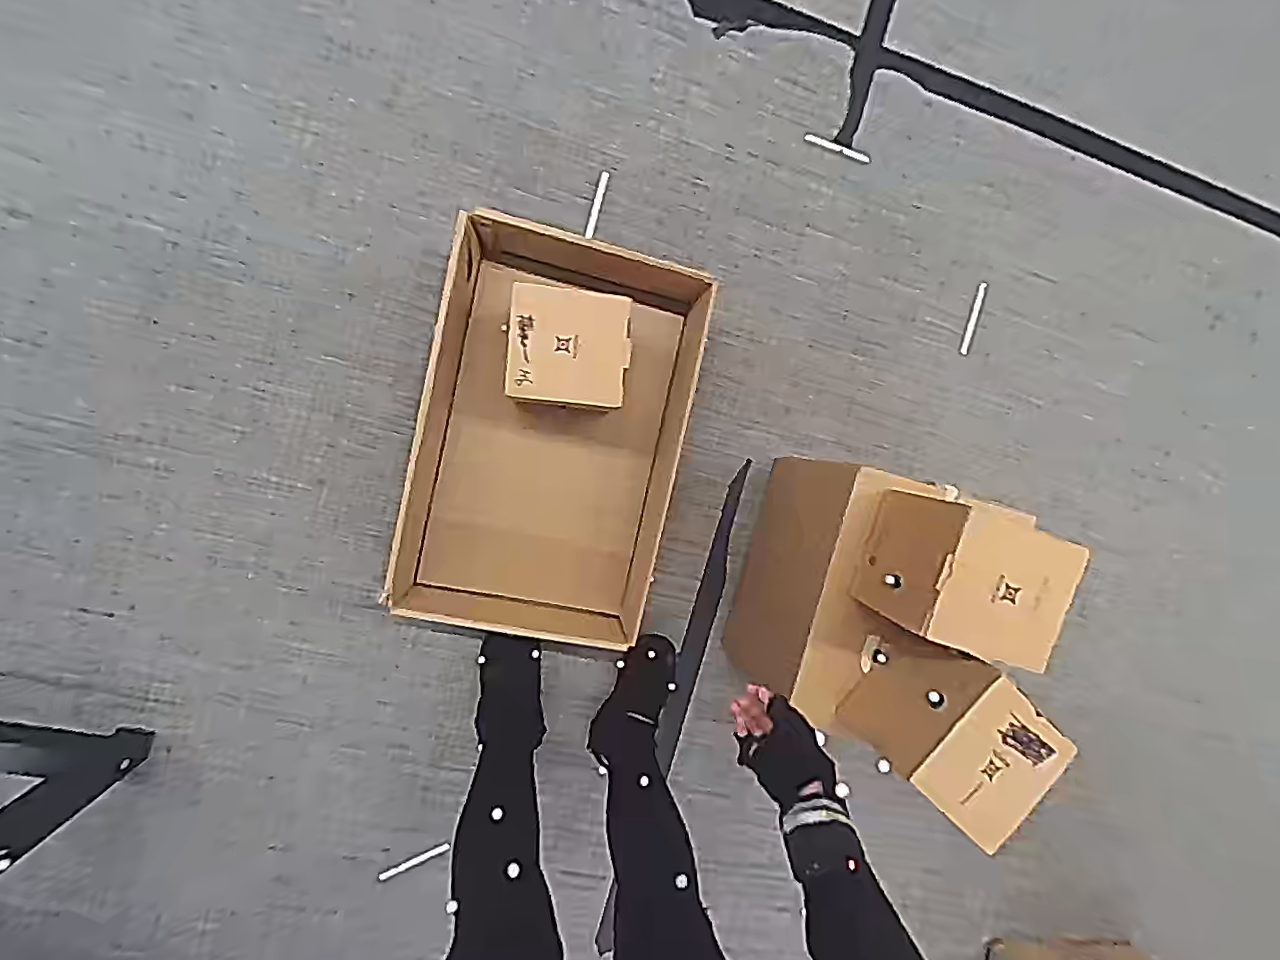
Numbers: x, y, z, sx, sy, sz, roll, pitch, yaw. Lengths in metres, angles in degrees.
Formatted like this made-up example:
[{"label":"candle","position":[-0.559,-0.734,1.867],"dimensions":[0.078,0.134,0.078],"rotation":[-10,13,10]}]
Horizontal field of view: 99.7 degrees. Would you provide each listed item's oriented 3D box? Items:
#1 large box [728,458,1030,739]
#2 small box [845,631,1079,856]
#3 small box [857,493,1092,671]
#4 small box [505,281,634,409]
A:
[{"label":"large box","position":[0.388,0.193,0.963],"dimensions":[0.320,0.320,0.408],"rotation":[15,93,-8]},{"label":"small box","position":[0.418,0.337,0.730],"dimensions":[0.168,0.176,0.179],"rotation":[44,88,-9]},{"label":"small box","position":[0.423,0.122,0.715],"dimensions":[0.179,0.176,0.168],"rotation":[18,94,-10]},{"label":"small box","position":[-0.115,-0.205,0.870],"dimensions":[0.179,0.176,0.168],"rotation":[5,95,-10]}]
